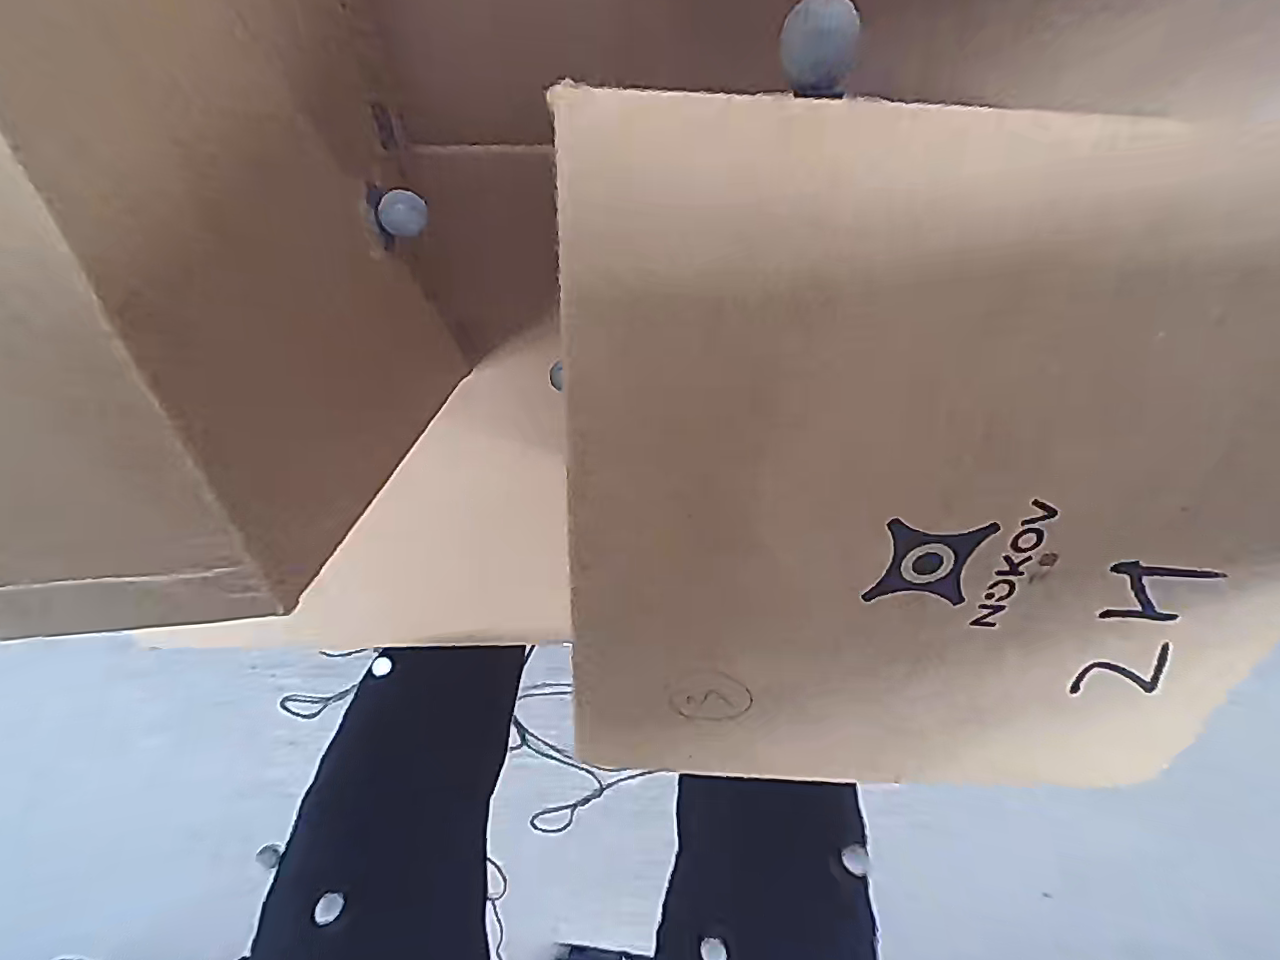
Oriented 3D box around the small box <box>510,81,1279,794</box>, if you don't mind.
[{"bbox_3d":[0.064,-0.024,0.189,0.179,0.176,0.168,3,122,-1],"label":"small box"}]
